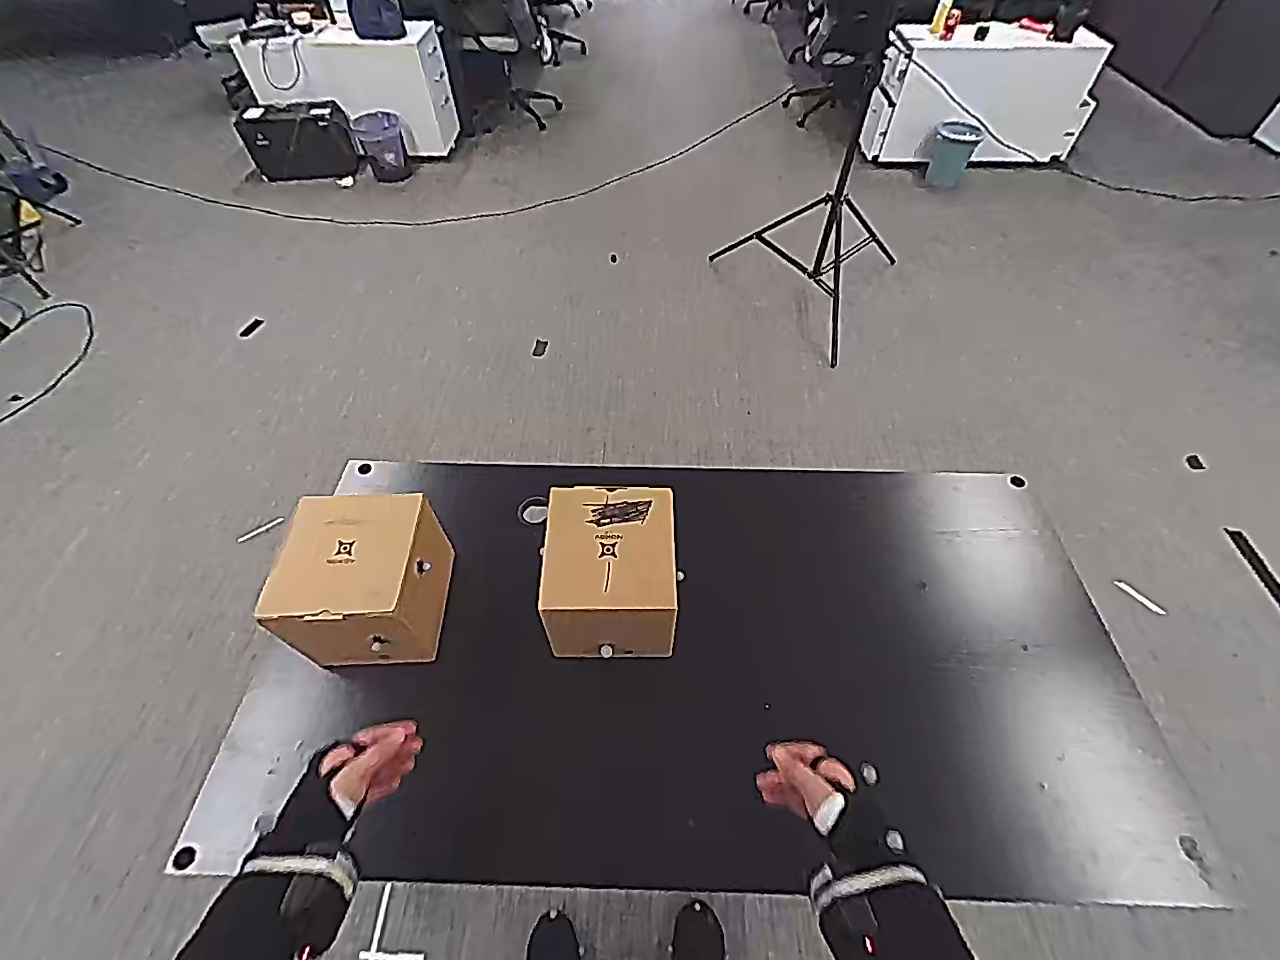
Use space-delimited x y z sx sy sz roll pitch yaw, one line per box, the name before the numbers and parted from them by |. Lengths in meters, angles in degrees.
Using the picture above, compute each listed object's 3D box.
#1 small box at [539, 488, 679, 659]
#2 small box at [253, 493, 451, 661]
small box | -0.036 0.129 0.740 0.168 0.176 0.179 0 54 0
small box | -0.368 0.137 0.734 0.168 0.176 0.179 -1 52 -3
